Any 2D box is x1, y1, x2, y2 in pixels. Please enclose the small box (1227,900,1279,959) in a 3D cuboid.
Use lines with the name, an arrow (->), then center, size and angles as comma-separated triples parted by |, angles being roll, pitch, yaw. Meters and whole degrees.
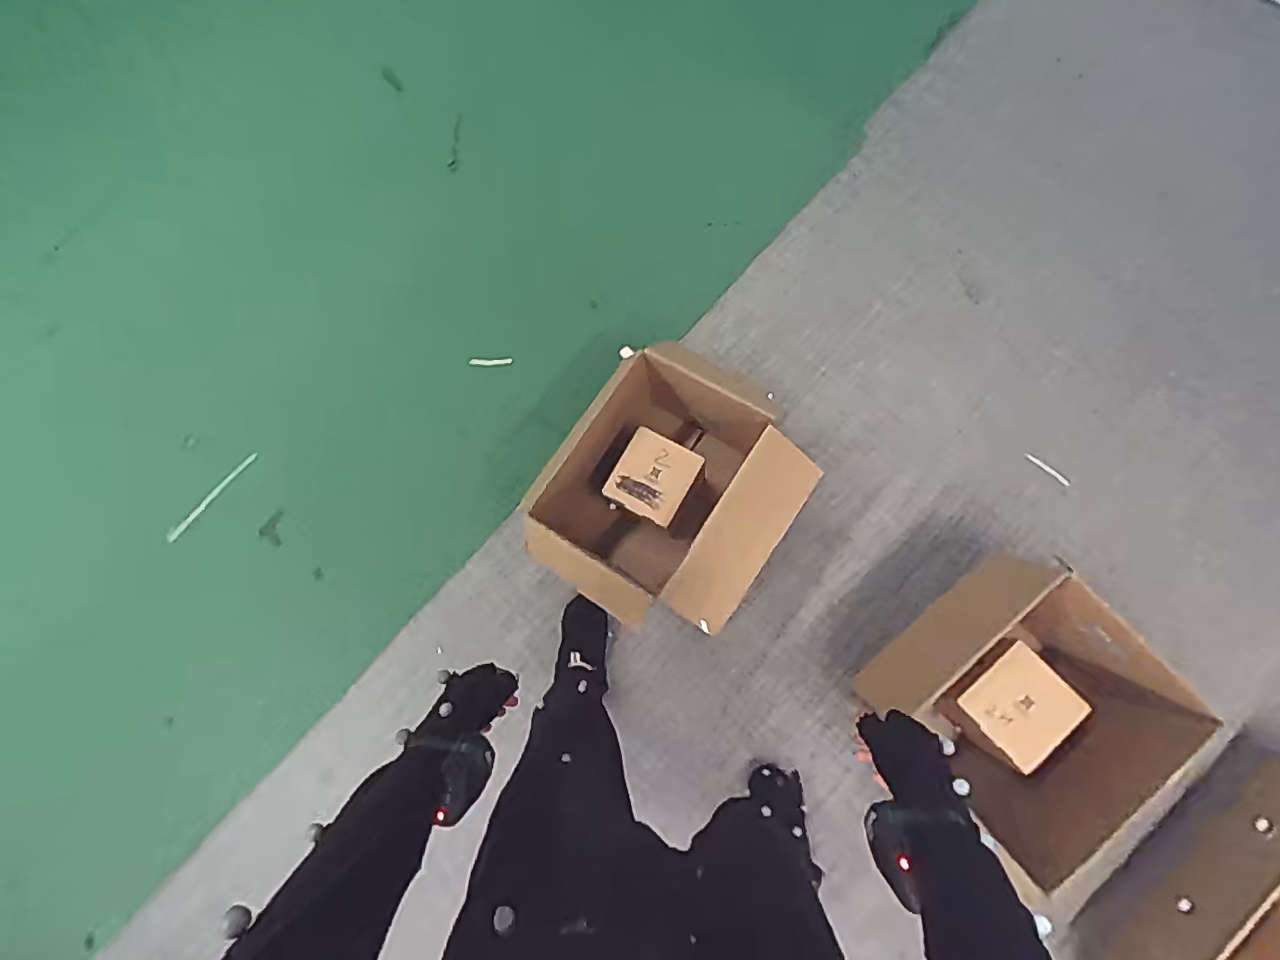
small box -> 1.172, 0.870, 0.908 | 0.168, 0.176, 0.179 | 41, 84, 12
